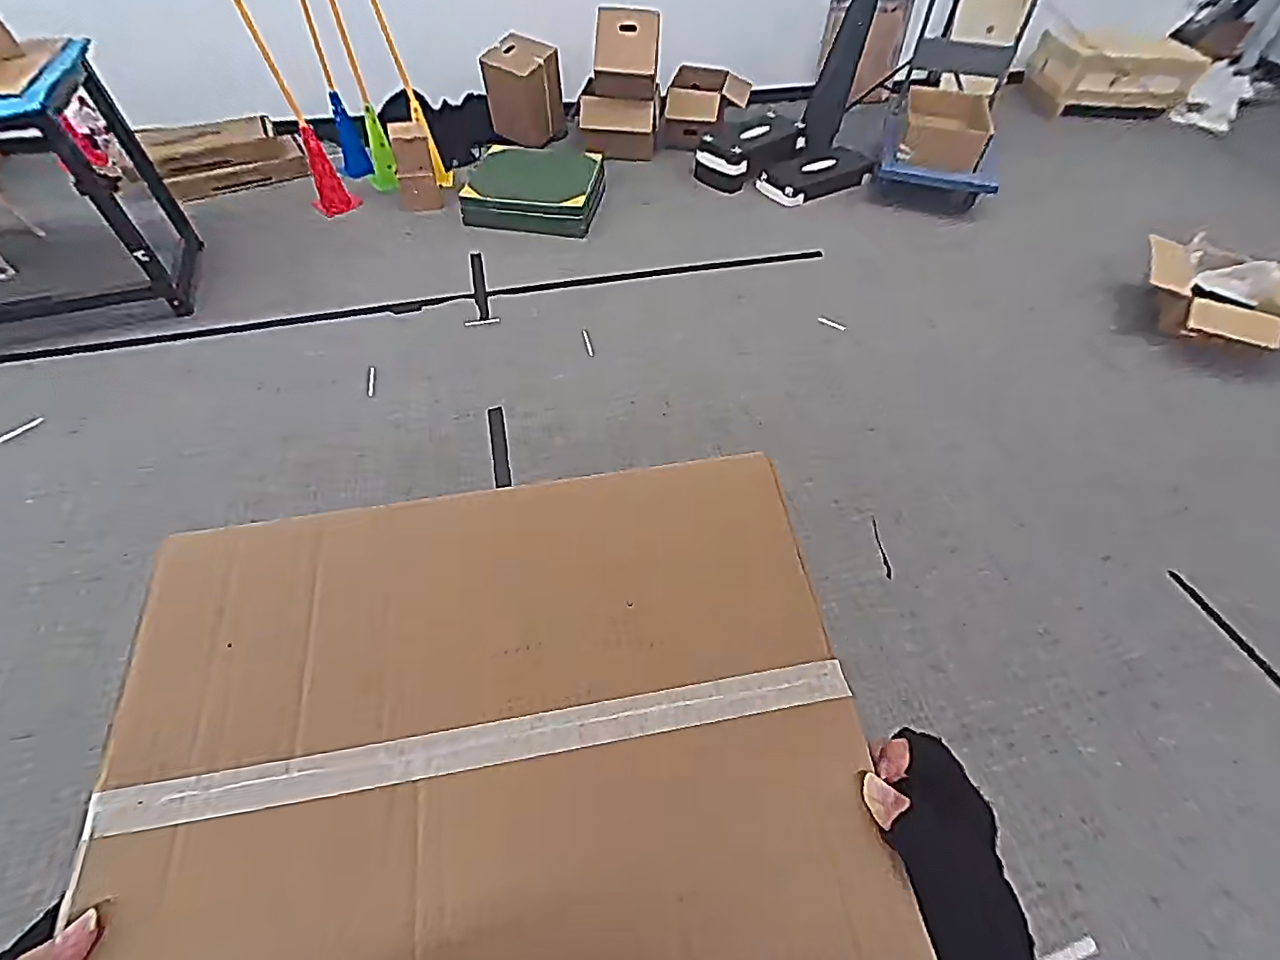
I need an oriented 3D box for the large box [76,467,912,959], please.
[{"bbox_3d":[-0.084,0.222,0.438,0.408,0.320,0.320,-8,61,-5],"label":"large box"}]
